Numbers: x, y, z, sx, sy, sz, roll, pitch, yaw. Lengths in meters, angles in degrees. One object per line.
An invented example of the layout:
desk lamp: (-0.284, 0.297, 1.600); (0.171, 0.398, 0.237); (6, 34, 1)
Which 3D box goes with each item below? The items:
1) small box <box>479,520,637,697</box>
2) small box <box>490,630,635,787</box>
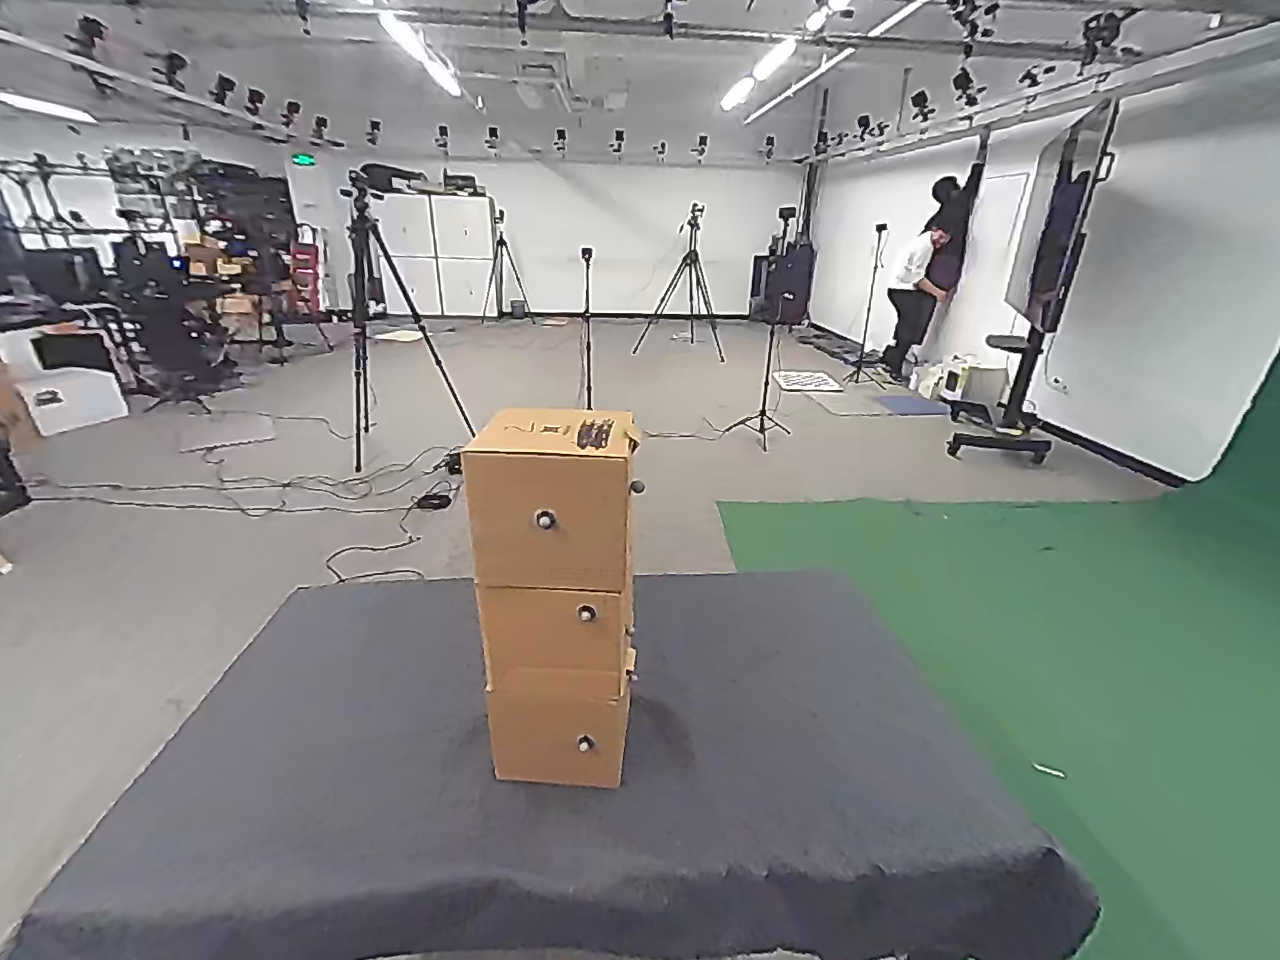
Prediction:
small box: (-0.098, 0.168, 0.729); (0.179, 0.176, 0.168); (4, 23, 3)
small box: (-0.102, 0.318, 0.791); (0.179, 0.176, 0.168); (2, 23, 4)
